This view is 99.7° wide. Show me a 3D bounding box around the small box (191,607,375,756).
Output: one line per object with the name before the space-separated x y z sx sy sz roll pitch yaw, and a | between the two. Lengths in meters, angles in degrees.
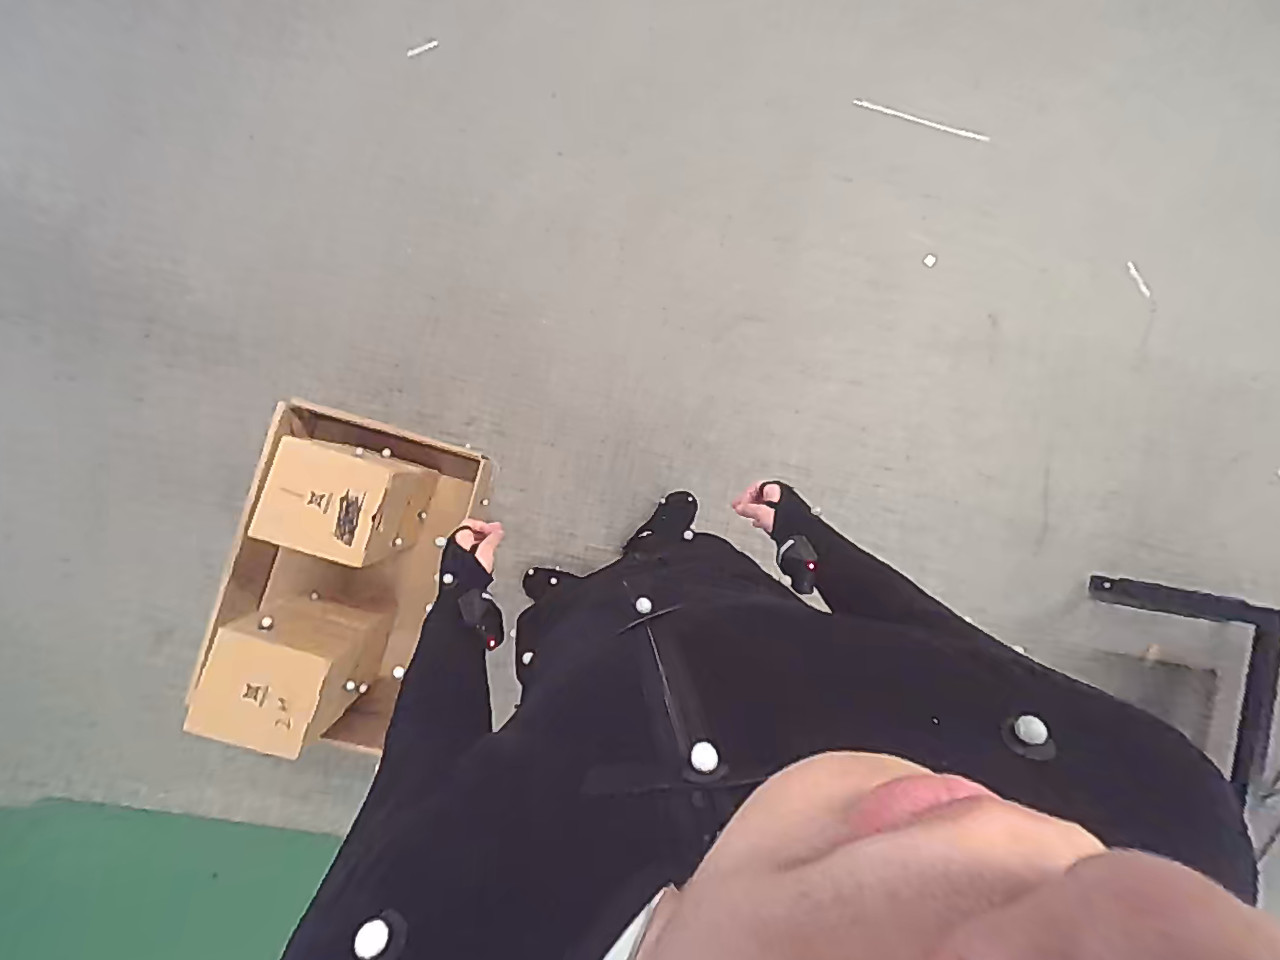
small box | -0.590 0.327 0.917 0.179 0.176 0.168 19 88 -5

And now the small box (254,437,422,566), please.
small box | -0.501 0.034 0.929 0.179 0.176 0.168 18 87 -5

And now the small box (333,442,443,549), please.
small box | -0.524 0.032 1.092 0.179 0.176 0.168 17 88 -6
